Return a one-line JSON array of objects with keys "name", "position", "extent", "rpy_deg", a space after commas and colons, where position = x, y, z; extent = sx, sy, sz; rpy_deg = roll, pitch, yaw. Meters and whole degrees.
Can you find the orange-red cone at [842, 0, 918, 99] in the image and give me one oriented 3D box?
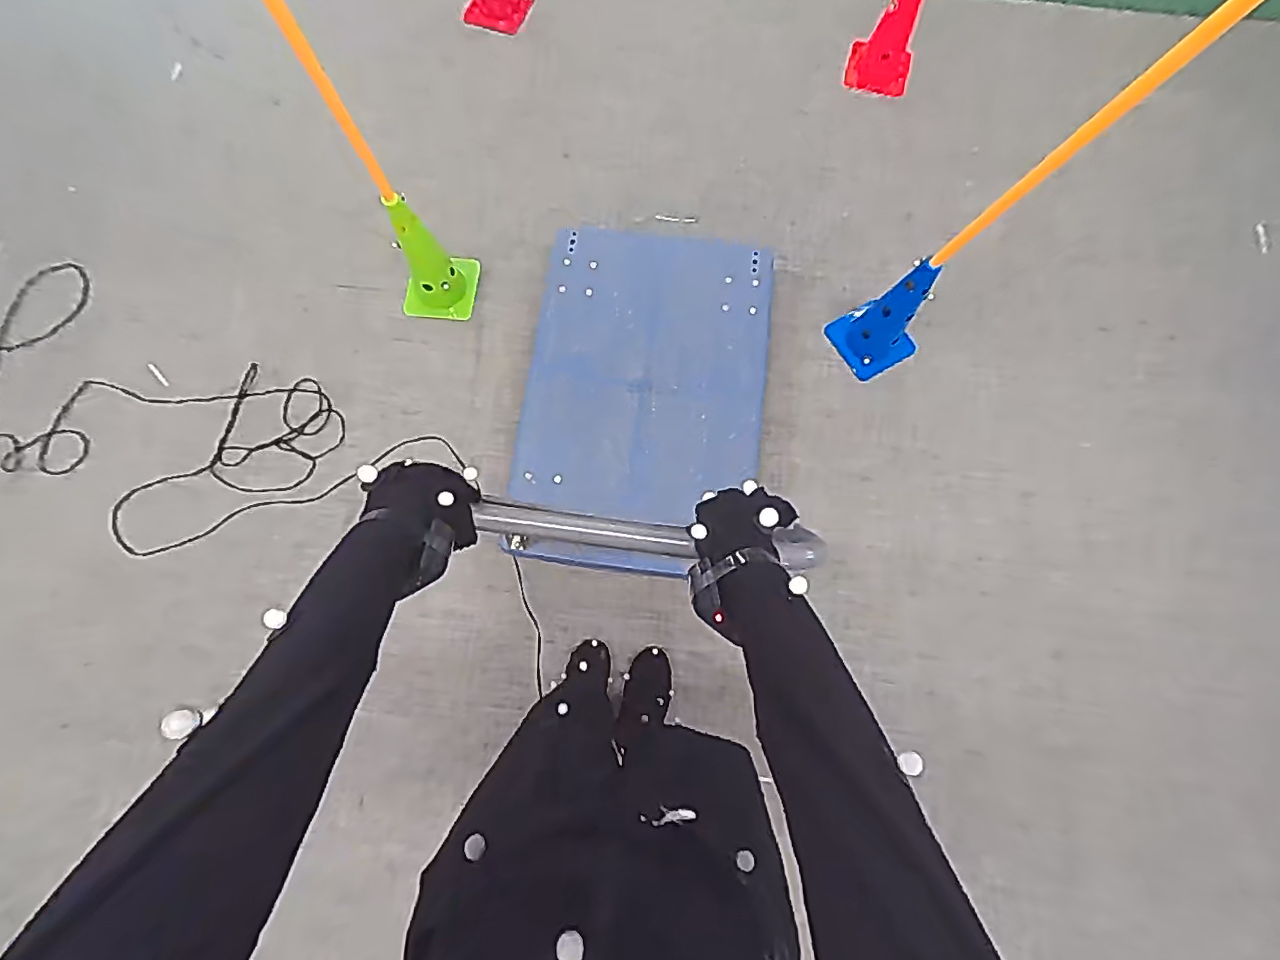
[{"name": "orange-red cone", "position": [0.771, -1.378, 1.604], "extent": [0.198, 0.360, 0.199], "rpy_deg": [17, 78, 5]}]
